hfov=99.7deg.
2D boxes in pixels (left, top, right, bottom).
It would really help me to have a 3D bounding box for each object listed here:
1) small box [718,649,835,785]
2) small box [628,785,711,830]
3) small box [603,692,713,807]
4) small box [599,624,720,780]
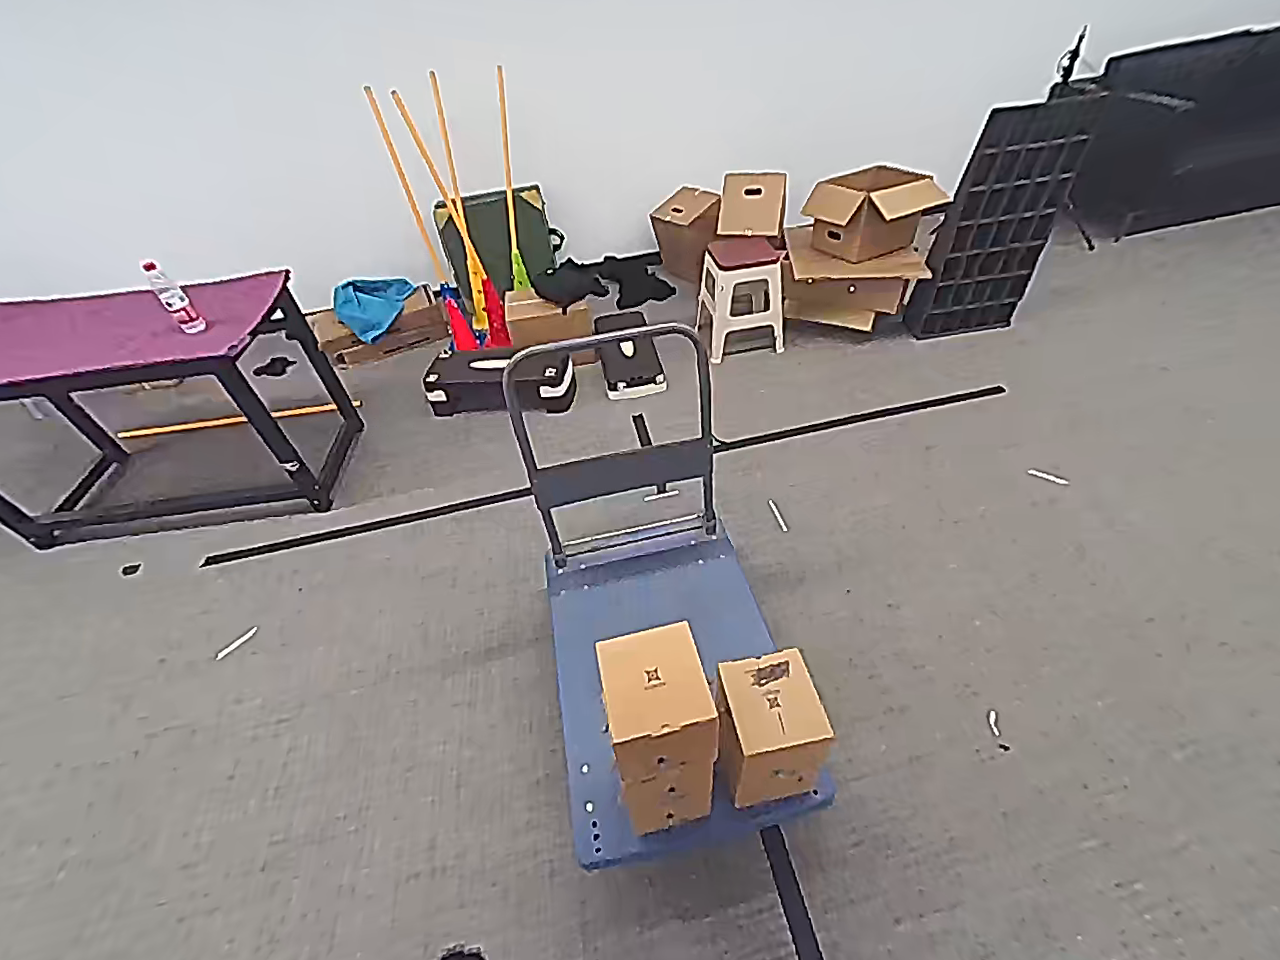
[{"bbox_3d":[0.252,0.461,1.051,0.168,0.176,0.179,-10,44,-4],"label":"small box"},{"bbox_3d":[0.050,0.617,1.150,0.168,0.176,0.179,-12,44,-7],"label":"small box"},{"bbox_3d":[0.035,0.501,1.035,0.168,0.176,0.179,-13,45,-8],"label":"small box"},{"bbox_3d":[0.031,0.379,0.926,0.168,0.176,0.179,-12,44,-6],"label":"small box"}]
